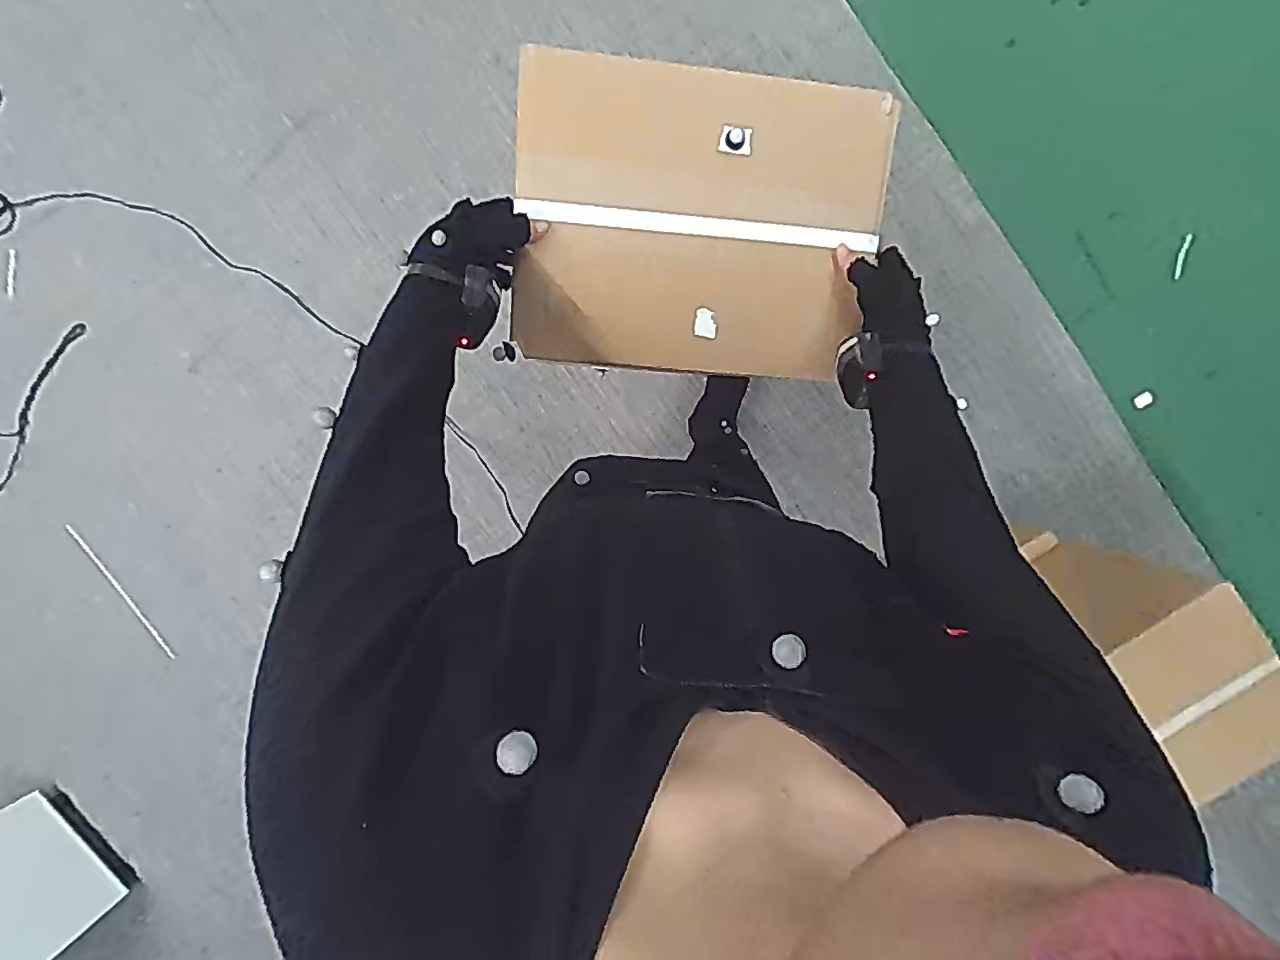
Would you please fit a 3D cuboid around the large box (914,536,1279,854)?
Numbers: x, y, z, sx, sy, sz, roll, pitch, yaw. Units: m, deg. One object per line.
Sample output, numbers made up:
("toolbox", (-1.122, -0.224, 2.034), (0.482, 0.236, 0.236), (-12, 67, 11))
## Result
("large box", (0.829, 0.365, 1.012), (0.408, 0.320, 0.320), (-35, 96, 4))
